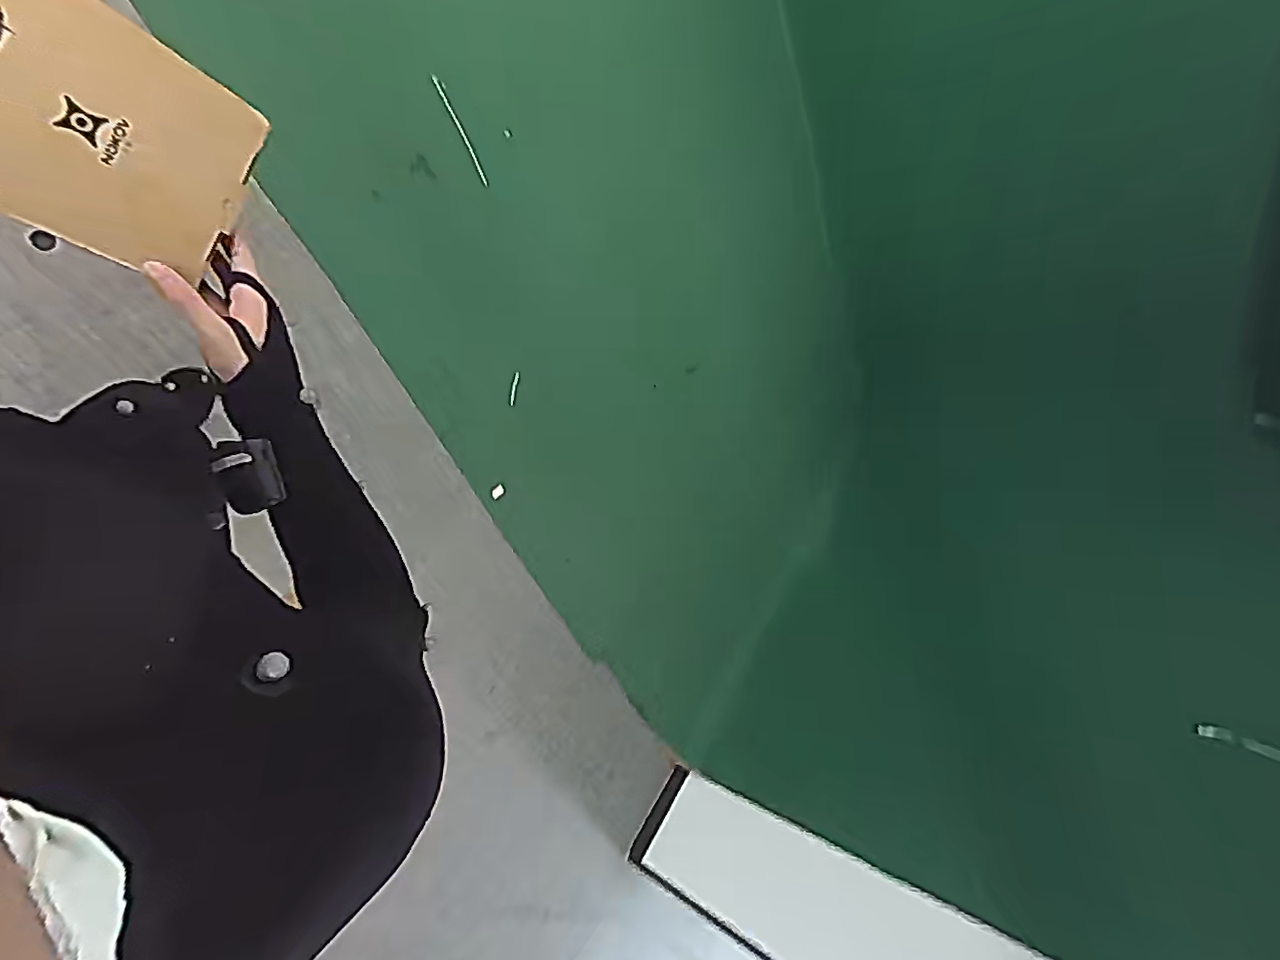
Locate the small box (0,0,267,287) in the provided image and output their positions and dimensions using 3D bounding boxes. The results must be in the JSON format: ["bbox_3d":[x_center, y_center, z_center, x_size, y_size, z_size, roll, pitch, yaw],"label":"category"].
[{"bbox_3d":[-0.453,-0.283,0.437,0.179,0.176,0.168,24,89,-52],"label":"small box"}]
